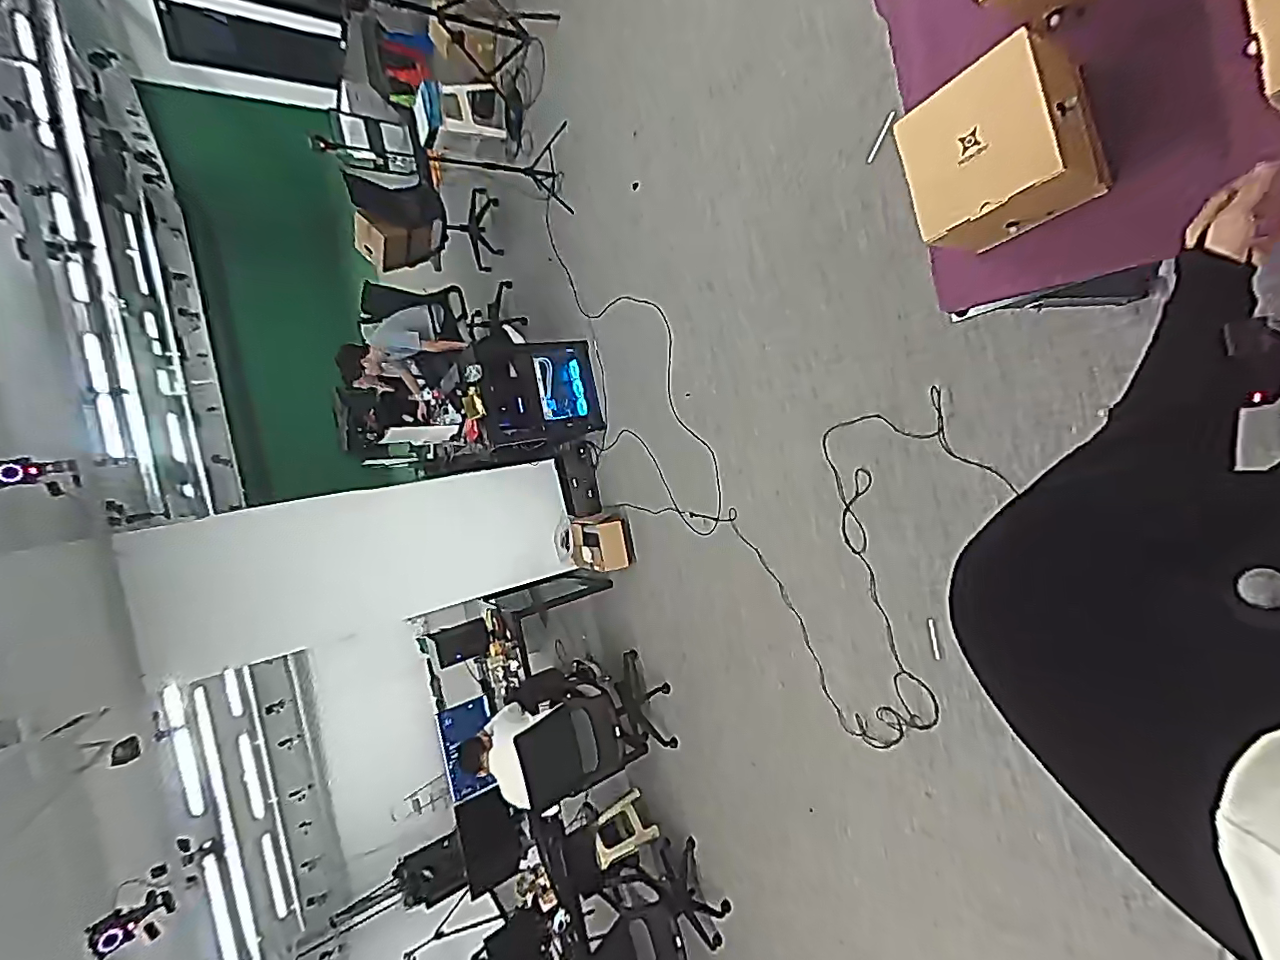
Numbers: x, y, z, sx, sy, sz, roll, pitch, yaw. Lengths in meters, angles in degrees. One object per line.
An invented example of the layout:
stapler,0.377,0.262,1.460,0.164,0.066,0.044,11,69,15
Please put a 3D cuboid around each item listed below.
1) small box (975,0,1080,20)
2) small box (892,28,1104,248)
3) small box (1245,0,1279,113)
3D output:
small box,0.495,-0.668,0.608,0.168,0.176,0.179,1,101,56
small box,0.474,-0.432,0.720,0.168,0.176,0.179,-17,87,56
small box,0.649,-0.440,0.449,0.179,0.176,0.168,-10,92,58
